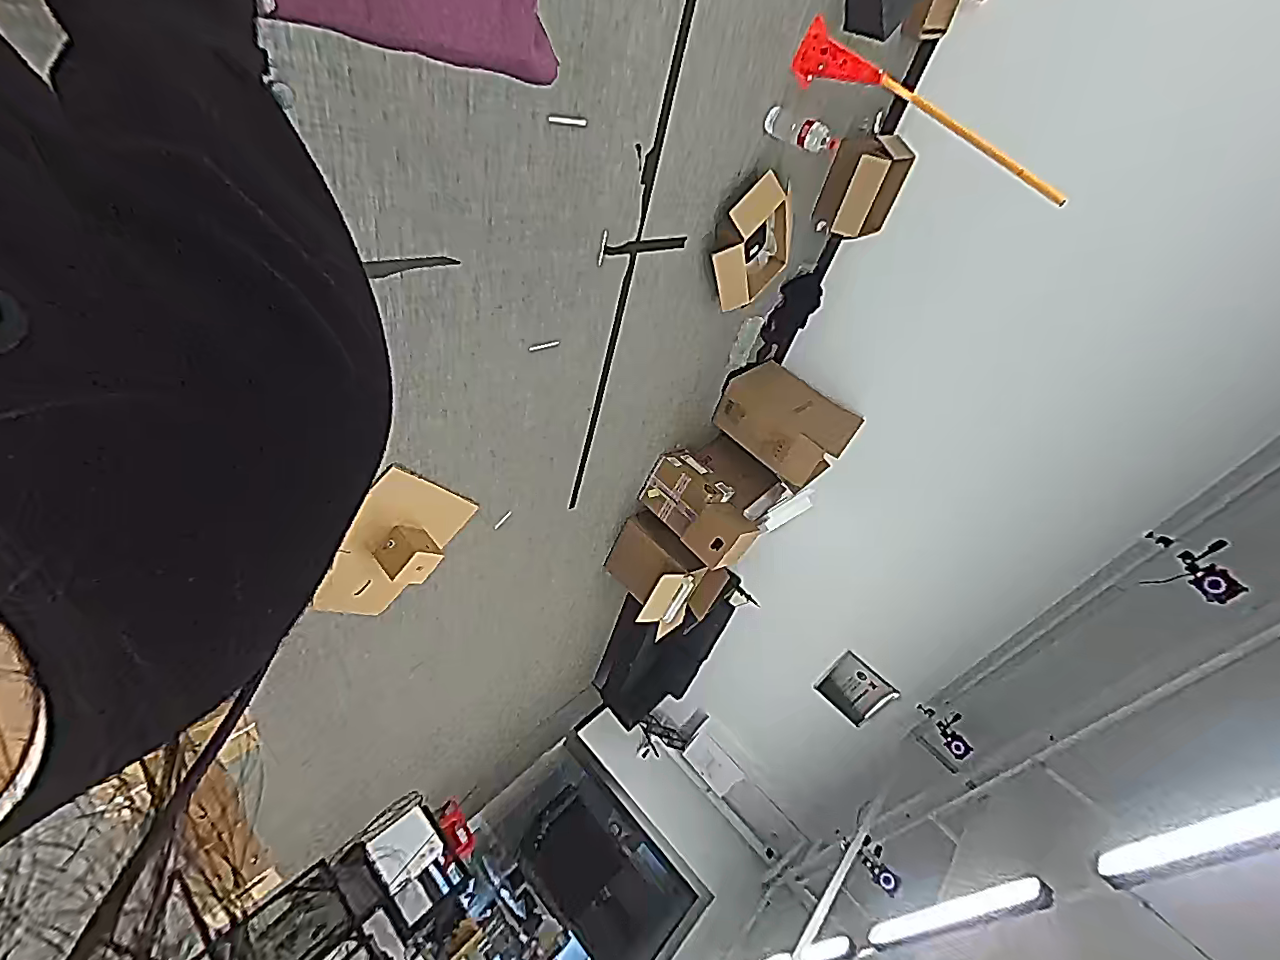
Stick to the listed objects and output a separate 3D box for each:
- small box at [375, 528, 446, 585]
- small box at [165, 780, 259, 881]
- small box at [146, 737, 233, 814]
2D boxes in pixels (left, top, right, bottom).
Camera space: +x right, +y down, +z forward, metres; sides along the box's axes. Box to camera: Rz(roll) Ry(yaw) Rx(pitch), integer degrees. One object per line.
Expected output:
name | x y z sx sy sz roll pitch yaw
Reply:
small box | -0.964 0.321 2.272 0.168 0.176 0.179 -50 156 3
small box | -1.289 1.047 1.630 0.168 0.176 0.179 -26 146 -42
small box | -1.400 0.942 1.689 0.168 0.176 0.179 -24 146 -45
